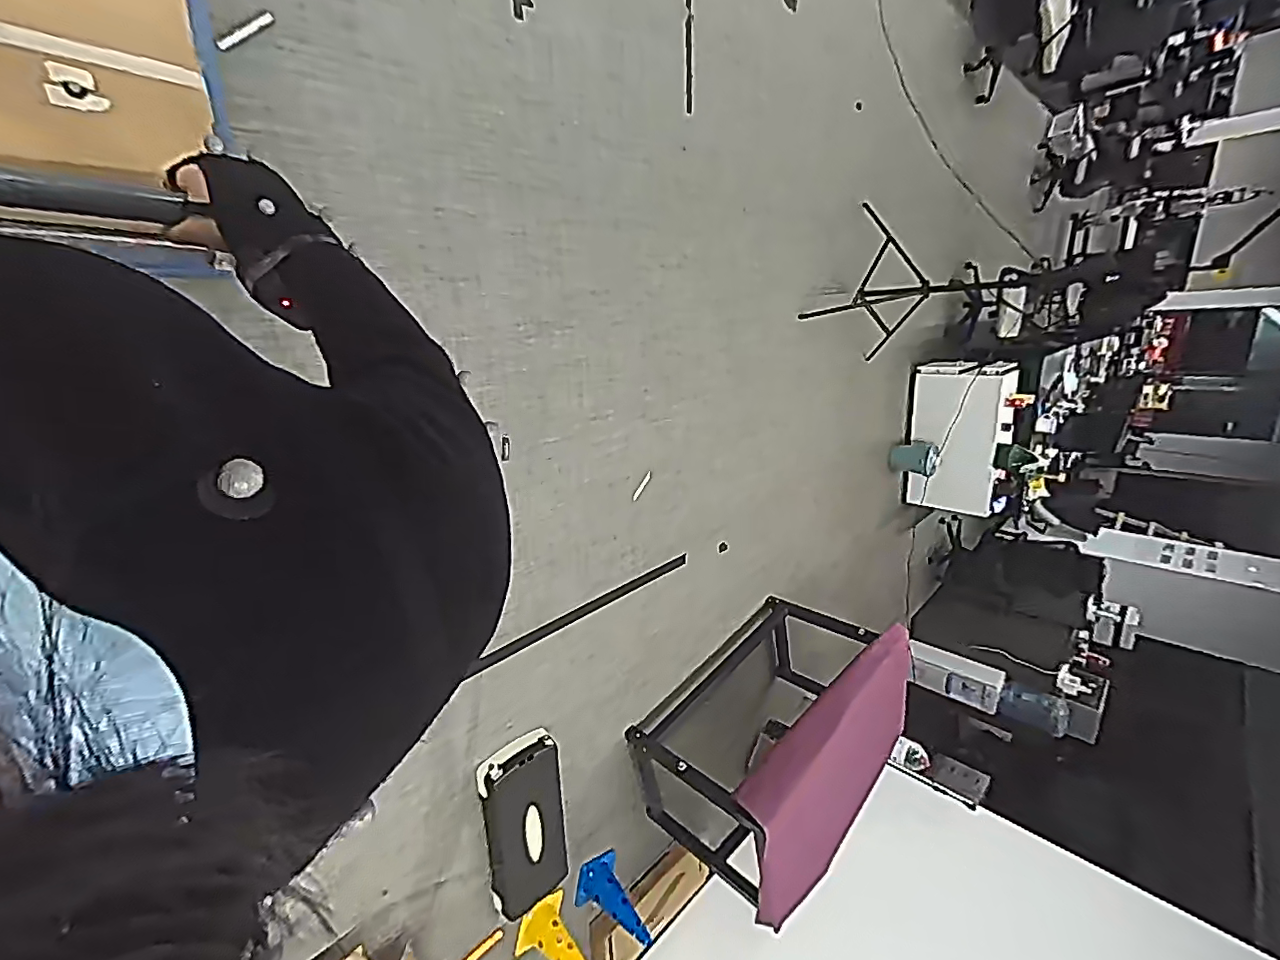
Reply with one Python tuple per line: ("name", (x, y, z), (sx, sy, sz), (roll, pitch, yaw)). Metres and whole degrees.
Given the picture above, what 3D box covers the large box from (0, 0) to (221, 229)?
("large box", (-0.876, -0.554, 0.739), (0.408, 0.320, 0.320), (-15, 110, -43))
